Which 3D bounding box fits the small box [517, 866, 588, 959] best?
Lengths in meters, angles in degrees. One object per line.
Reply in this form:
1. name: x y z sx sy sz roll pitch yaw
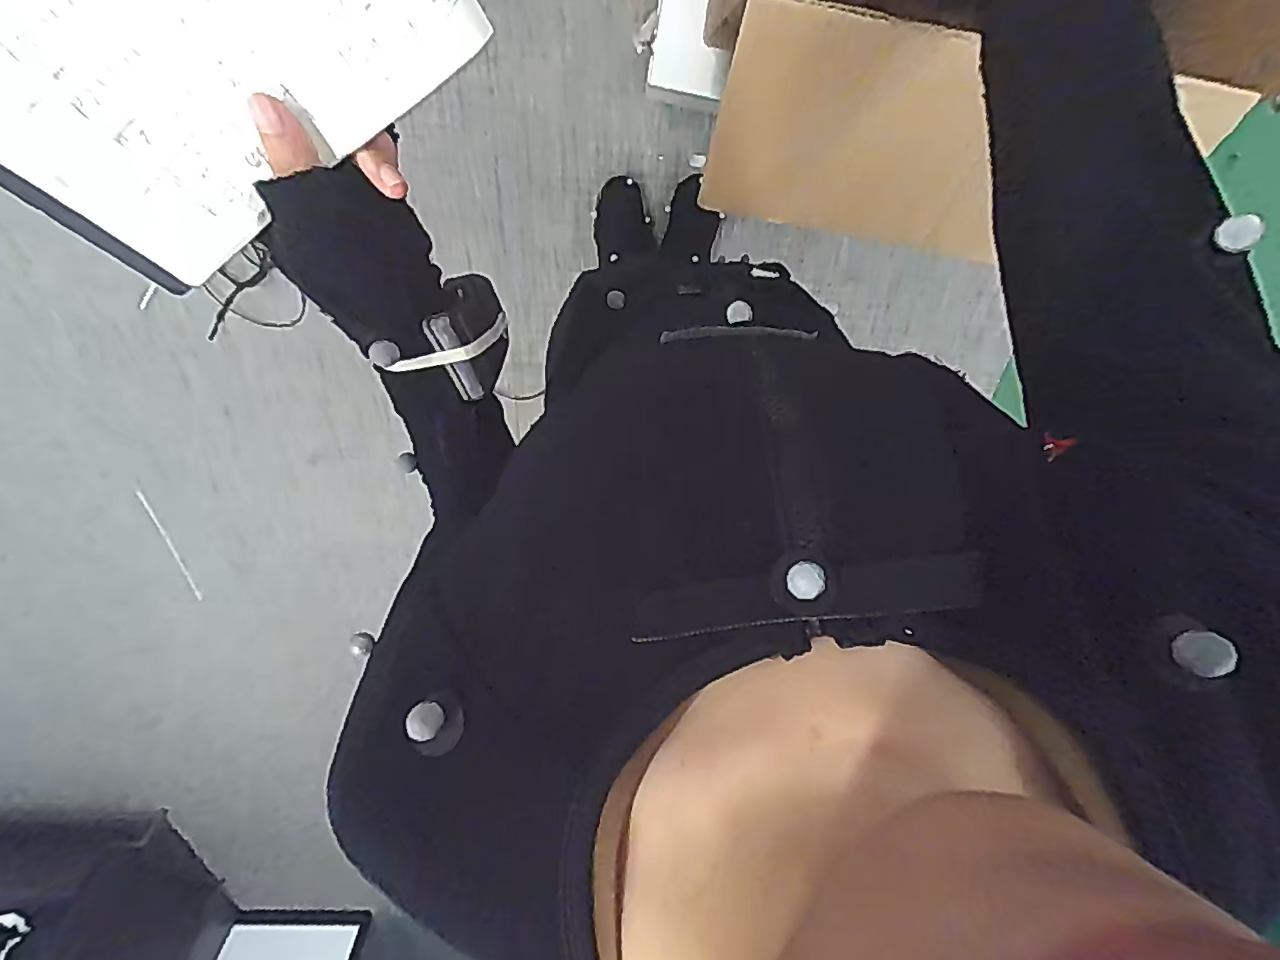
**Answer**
1. small box: -0.226 1.151 1.431 0.168 0.176 0.179 1 124 -1
